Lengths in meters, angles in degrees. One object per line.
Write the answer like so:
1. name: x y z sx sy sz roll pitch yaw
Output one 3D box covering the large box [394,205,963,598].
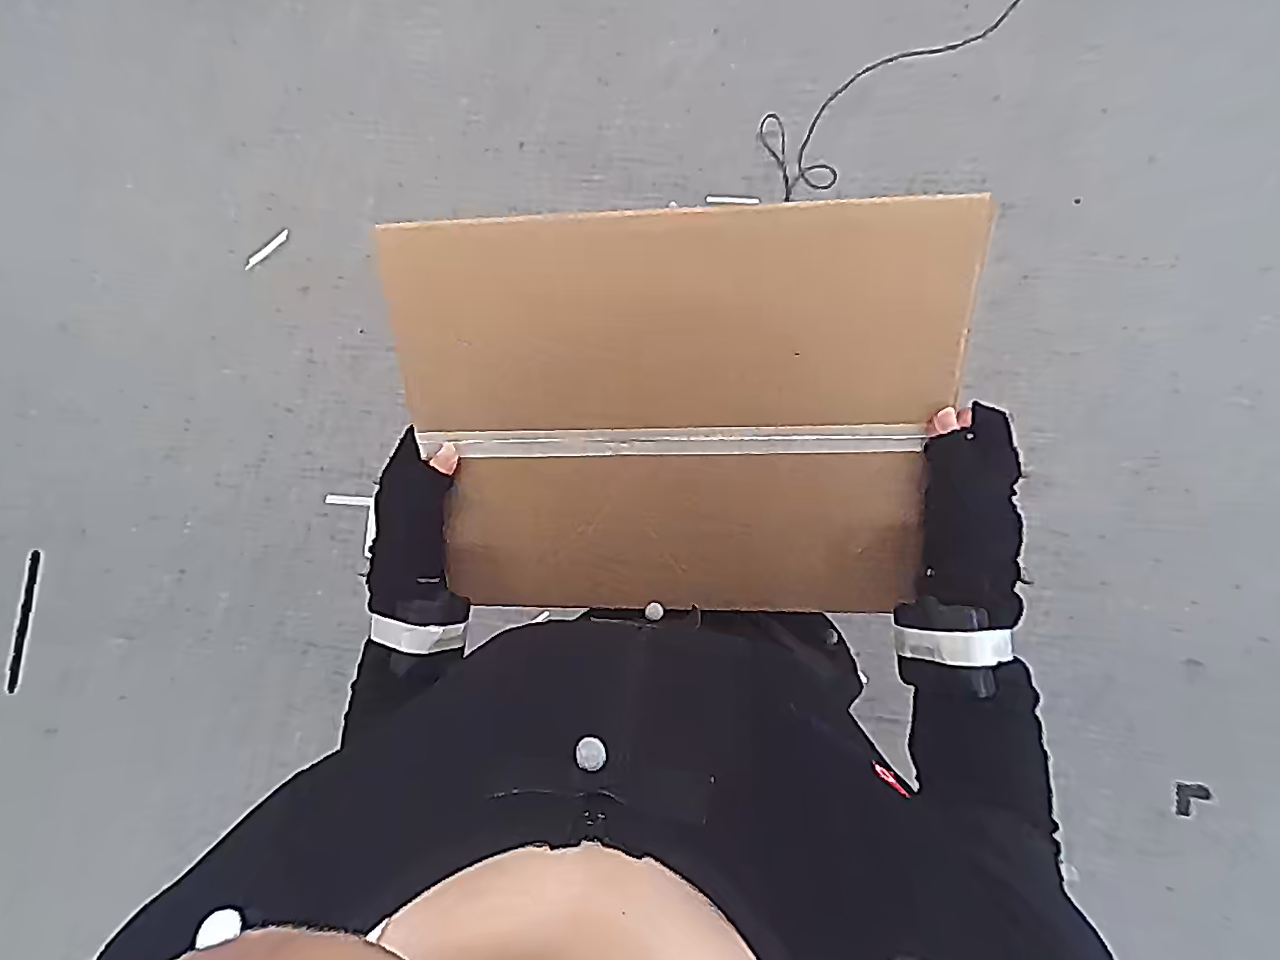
1. large box: 0.039 -0.094 0.566 0.408 0.320 0.320 0 113 6
